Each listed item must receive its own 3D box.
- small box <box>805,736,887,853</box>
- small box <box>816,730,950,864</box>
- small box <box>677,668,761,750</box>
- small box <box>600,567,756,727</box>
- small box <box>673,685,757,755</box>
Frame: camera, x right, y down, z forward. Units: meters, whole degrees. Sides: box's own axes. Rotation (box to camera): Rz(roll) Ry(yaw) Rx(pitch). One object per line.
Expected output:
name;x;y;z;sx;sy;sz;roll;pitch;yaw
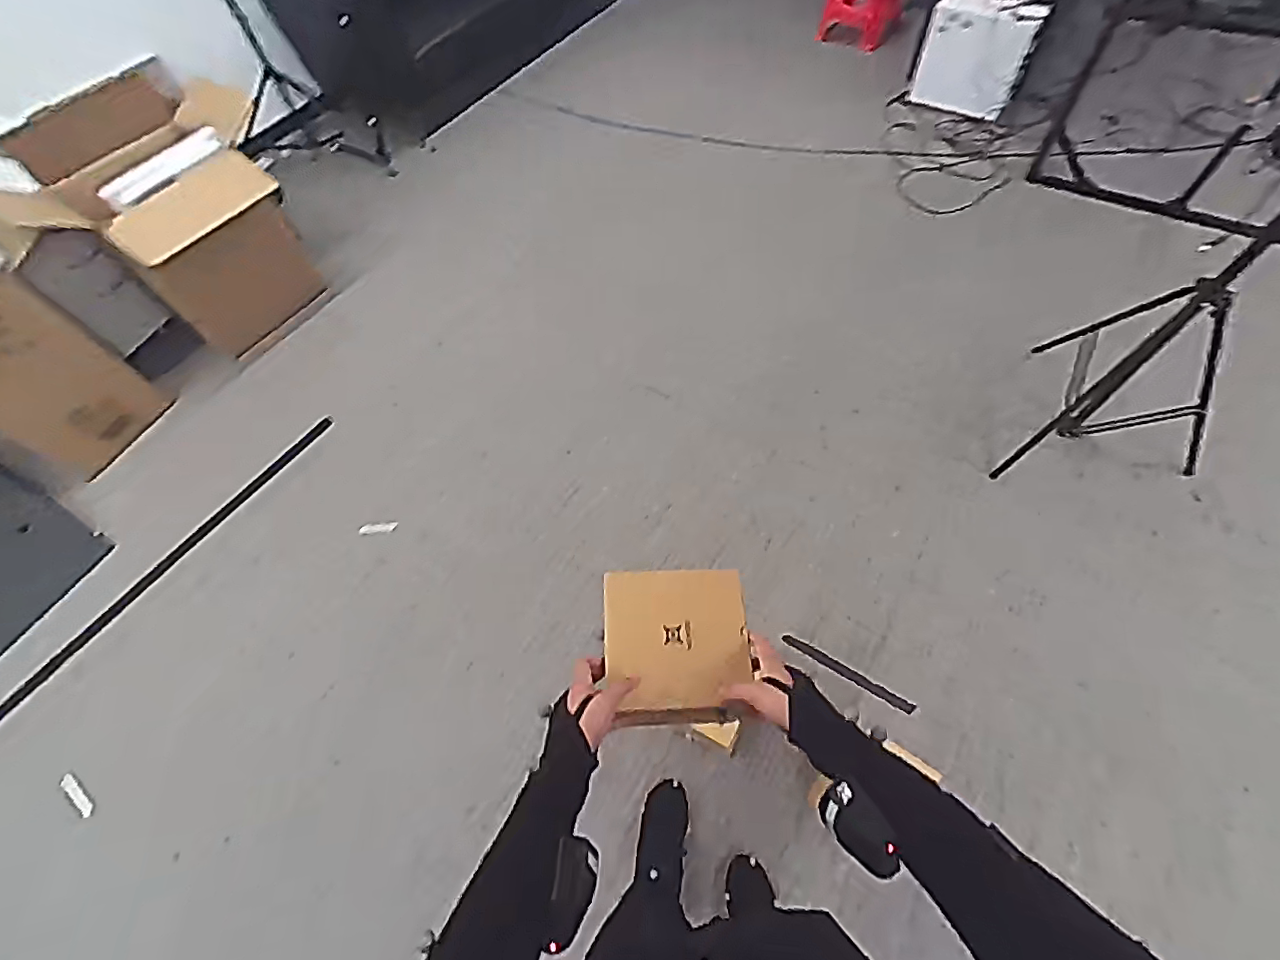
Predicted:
small box;0.511;0.737;1.272;0.179;0.176;0.168;31;68;20
small box;0.498;0.654;1.131;0.179;0.176;0.168;32;67;20
small box;0.162;0.499;1.254;0.168;0.176;0.179;25;66;19
small box;0.040;0.225;0.713;0.179;0.176;0.168;-2;60;-4
small box;0.184;0.581;1.394;0.168;0.176;0.179;23;65;18
